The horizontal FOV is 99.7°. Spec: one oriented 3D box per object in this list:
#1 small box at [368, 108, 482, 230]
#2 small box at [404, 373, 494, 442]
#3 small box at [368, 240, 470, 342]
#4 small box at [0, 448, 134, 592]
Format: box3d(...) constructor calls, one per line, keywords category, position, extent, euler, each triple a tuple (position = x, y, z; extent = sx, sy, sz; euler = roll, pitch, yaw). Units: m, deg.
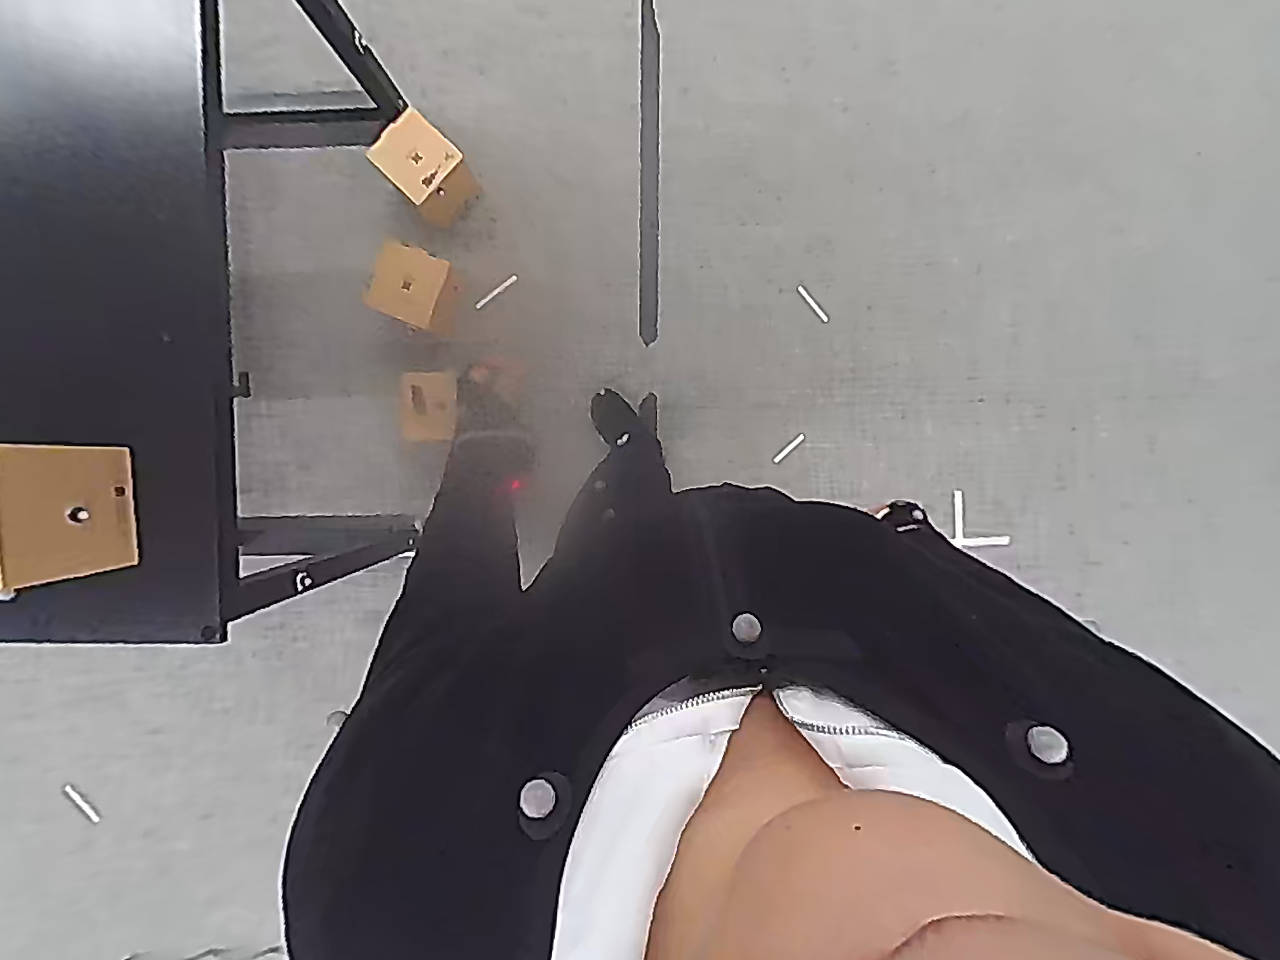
box3d(category="small box", position=(-0.538, -0.779, 1.376), extent=(0.179, 0.176, 0.168), euler=(43, 92, -2))
box3d(category="small box", position=(-0.490, -0.184, 1.404), extent=(0.179, 0.176, 0.168), euler=(-1, 93, -1))
box3d(category="small box", position=(-0.559, -0.477, 1.393), extent=(0.168, 0.176, 0.179), euler=(21, 93, 0))
box3d(category="small box", position=(-0.794, 0.044, 0.684), extent=(0.179, 0.176, 0.168), euler=(-3, 92, 1))
